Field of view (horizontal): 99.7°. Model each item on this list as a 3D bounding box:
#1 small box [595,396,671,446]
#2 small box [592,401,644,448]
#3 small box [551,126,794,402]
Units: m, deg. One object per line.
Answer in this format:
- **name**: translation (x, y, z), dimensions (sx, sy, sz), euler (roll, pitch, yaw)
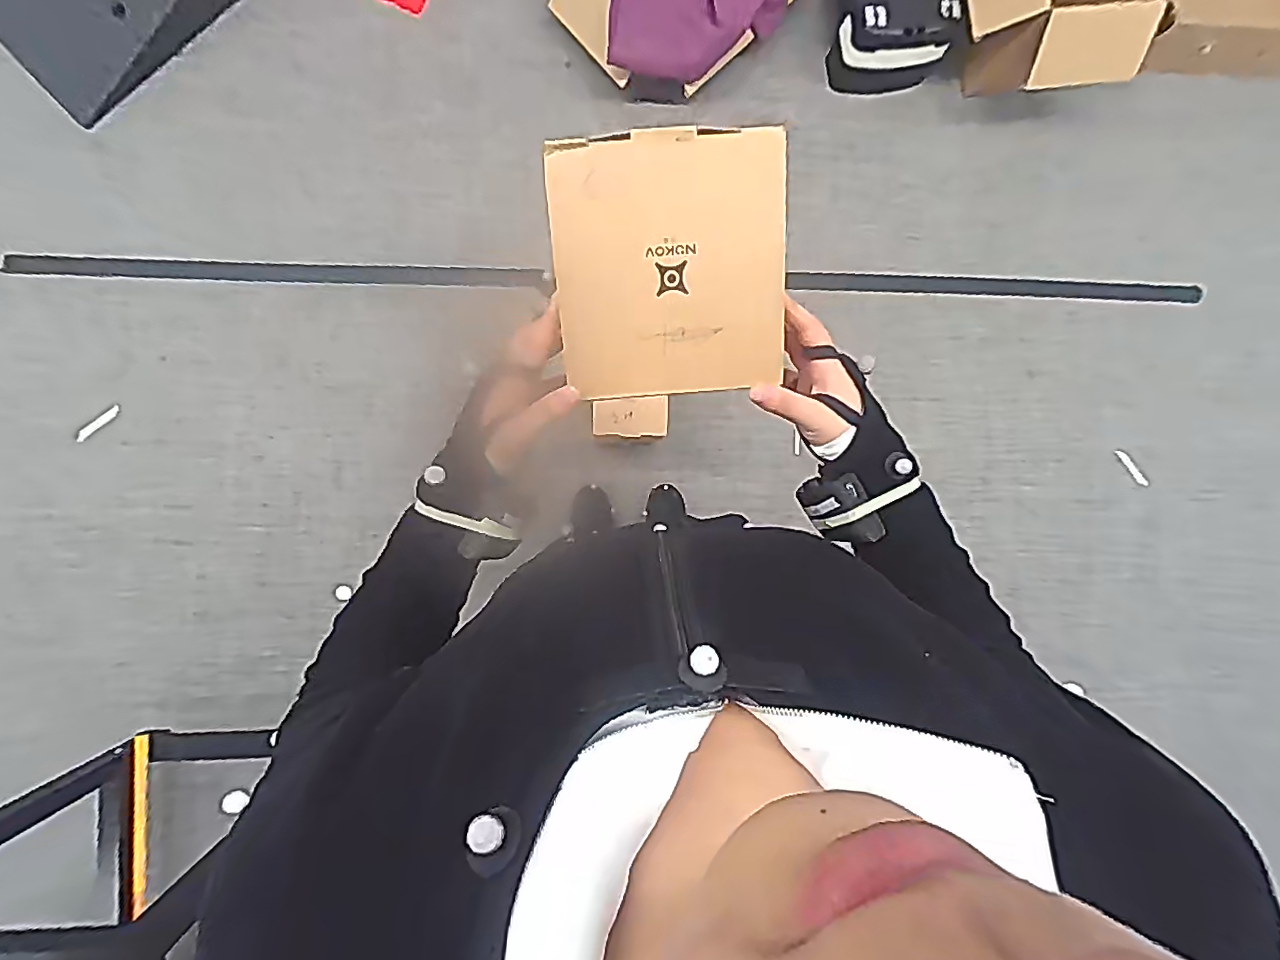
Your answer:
- **small box**: translation (-0.020, -0.175, 1.258), dimensions (0.168, 0.176, 0.179), euler (1, 90, -3)
- **small box**: translation (-0.035, -0.173, 1.422), dimensions (0.179, 0.176, 0.168), euler (-3, 90, -4)
- **small box**: translation (0.021, -0.169, 0.454), dimensions (0.168, 0.176, 0.179), euler (-4, 108, -1)
